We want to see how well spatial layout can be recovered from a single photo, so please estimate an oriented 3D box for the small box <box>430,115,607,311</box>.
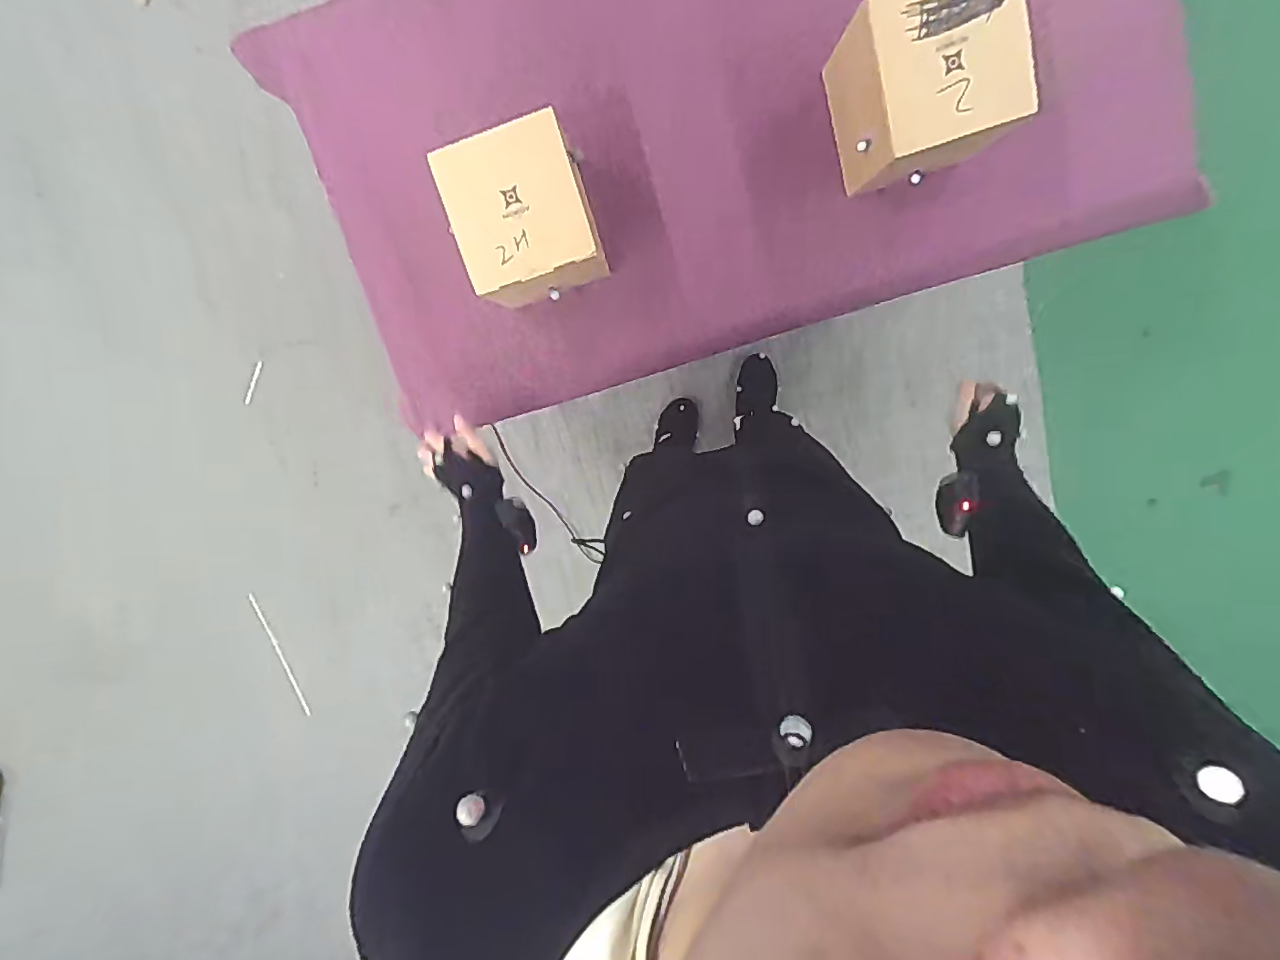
[{"bbox_3d":[-0.153,-0.349,0.745,0.168,0.176,0.179,-16,100,7],"label":"small box"}]
